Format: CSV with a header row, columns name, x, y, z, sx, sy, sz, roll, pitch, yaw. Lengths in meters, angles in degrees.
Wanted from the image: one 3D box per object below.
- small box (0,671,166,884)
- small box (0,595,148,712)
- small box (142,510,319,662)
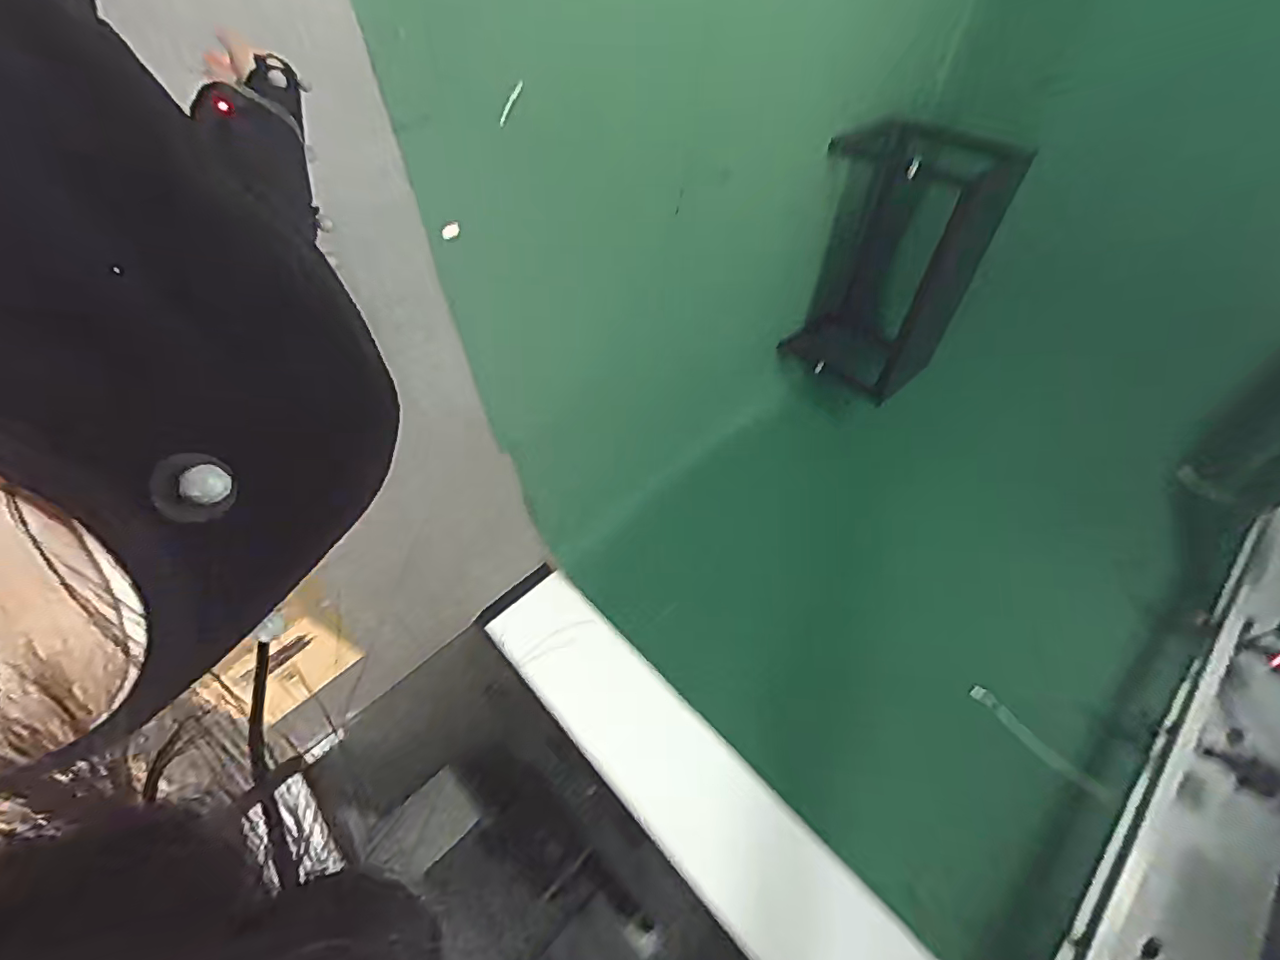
name,x,y,z,sx,sy,sz,roll,pitch,yaw
small box,-0.806,0.394,0.739,0.168,0.176,0.179,-28,145,-33
small box,-0.913,0.302,0.823,0.168,0.176,0.179,-31,146,-30
small box,-0.715,0.177,0.950,0.168,0.176,0.179,-36,147,-23
